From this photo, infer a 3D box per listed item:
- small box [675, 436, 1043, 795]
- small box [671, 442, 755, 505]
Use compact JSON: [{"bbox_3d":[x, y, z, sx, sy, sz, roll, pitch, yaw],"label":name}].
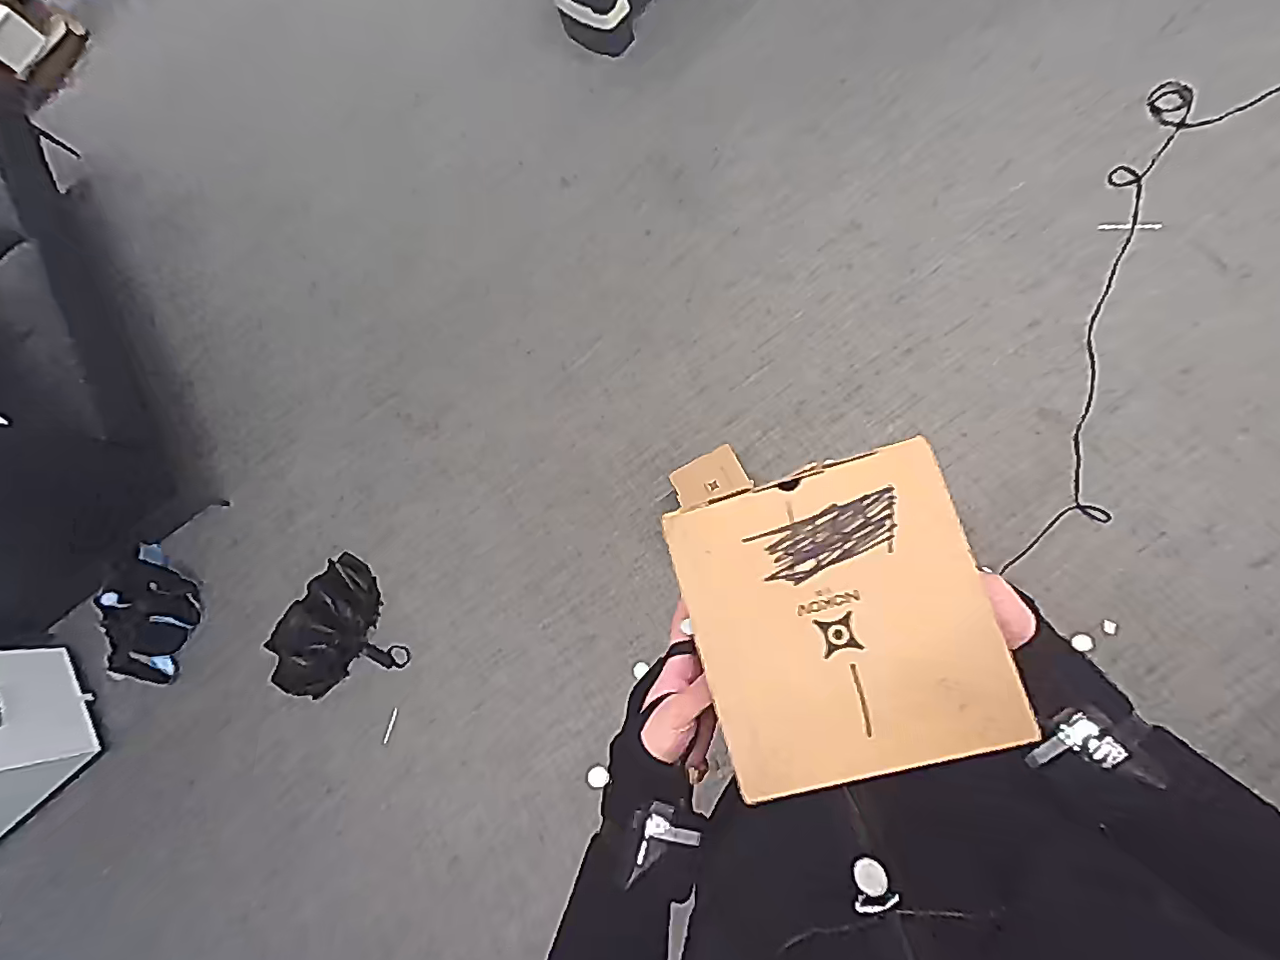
[{"bbox_3d":[0.132,0.086,0.392,0.168,0.176,0.179,-17,82,9],"label":"small box"},{"bbox_3d":[0.205,0.029,1.414,0.179,0.176,0.168,-29,73,5],"label":"small box"}]
